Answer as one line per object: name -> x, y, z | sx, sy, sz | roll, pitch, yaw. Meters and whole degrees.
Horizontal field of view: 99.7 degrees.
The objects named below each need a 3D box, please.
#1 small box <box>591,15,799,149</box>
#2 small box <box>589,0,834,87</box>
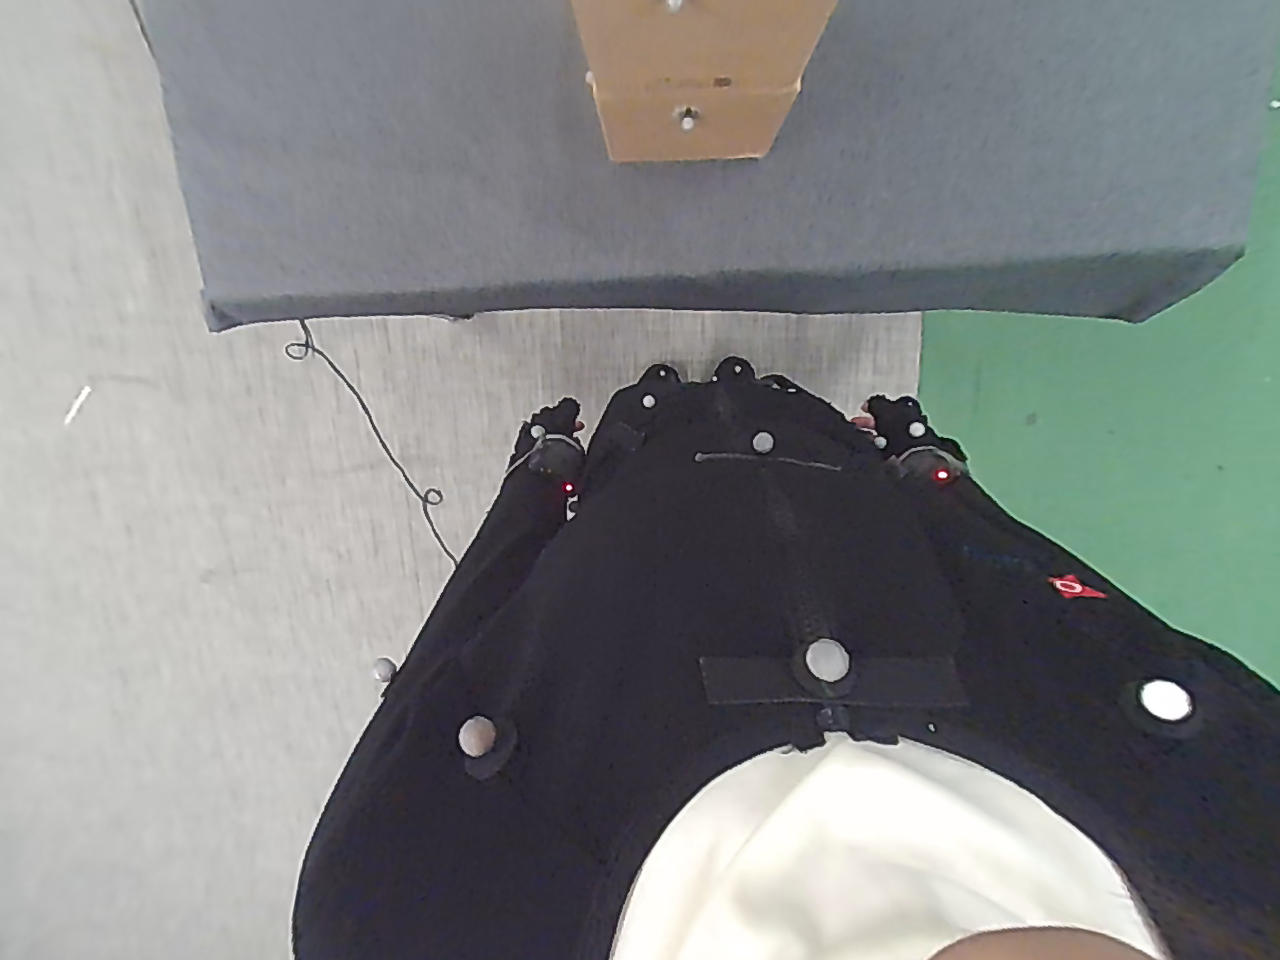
small box -> 0.050, -0.435, 0.516 | 0.179, 0.176, 0.168 | 0, 104, 2
small box -> 0.045, -0.400, 0.359 | 0.168, 0.176, 0.179 | -1, 104, 2
